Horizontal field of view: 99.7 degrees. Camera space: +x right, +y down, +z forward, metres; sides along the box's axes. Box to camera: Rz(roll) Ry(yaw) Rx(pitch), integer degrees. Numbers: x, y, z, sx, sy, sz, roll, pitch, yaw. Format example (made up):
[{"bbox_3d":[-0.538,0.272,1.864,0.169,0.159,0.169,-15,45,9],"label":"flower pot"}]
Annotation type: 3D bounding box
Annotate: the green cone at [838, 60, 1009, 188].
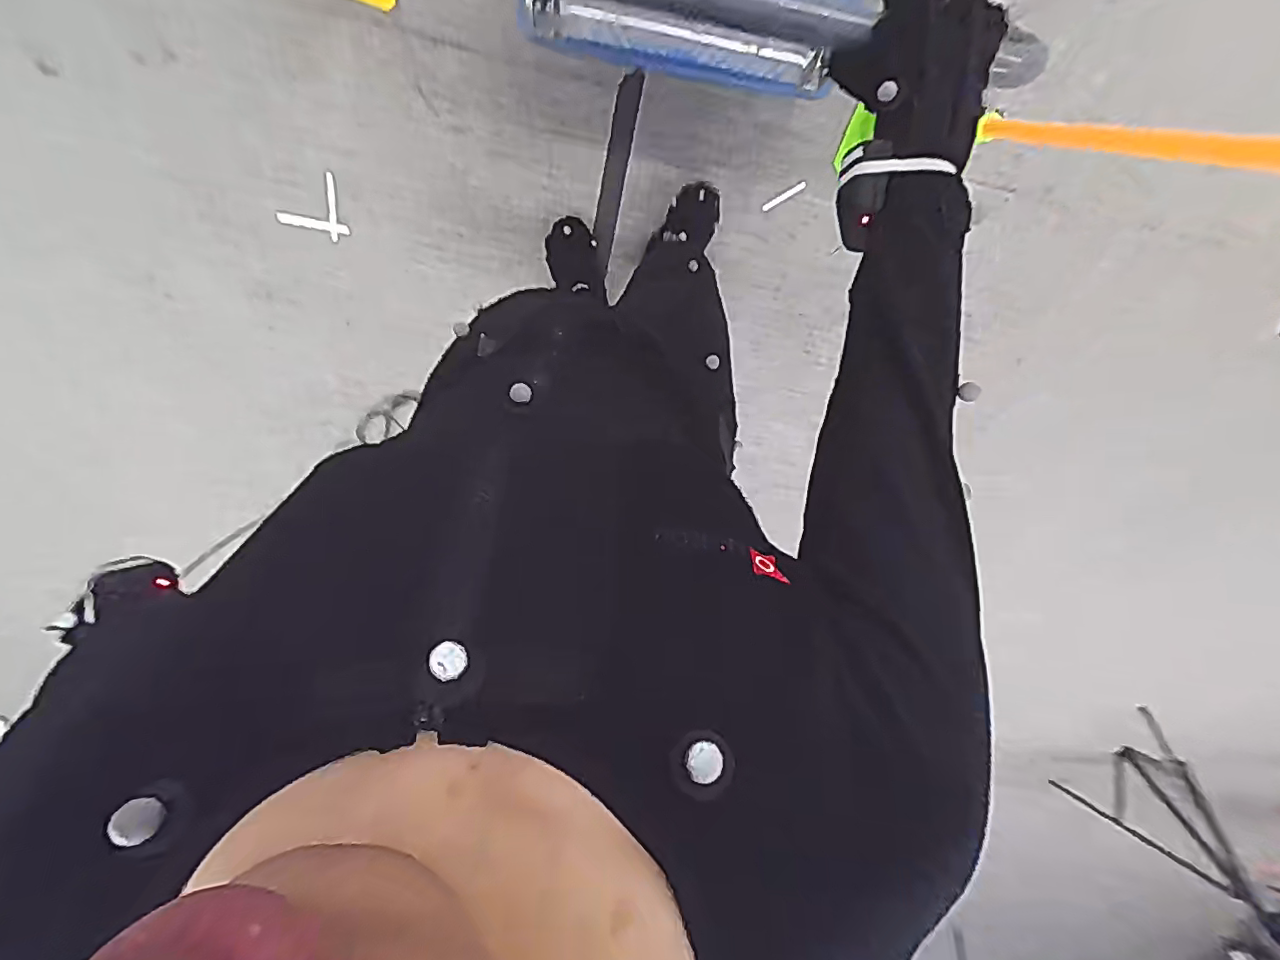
[{"bbox_3d":[0.563,-0.674,1.028,0.202,0.368,0.200,12,121,-12],"label":"green cone"}]
